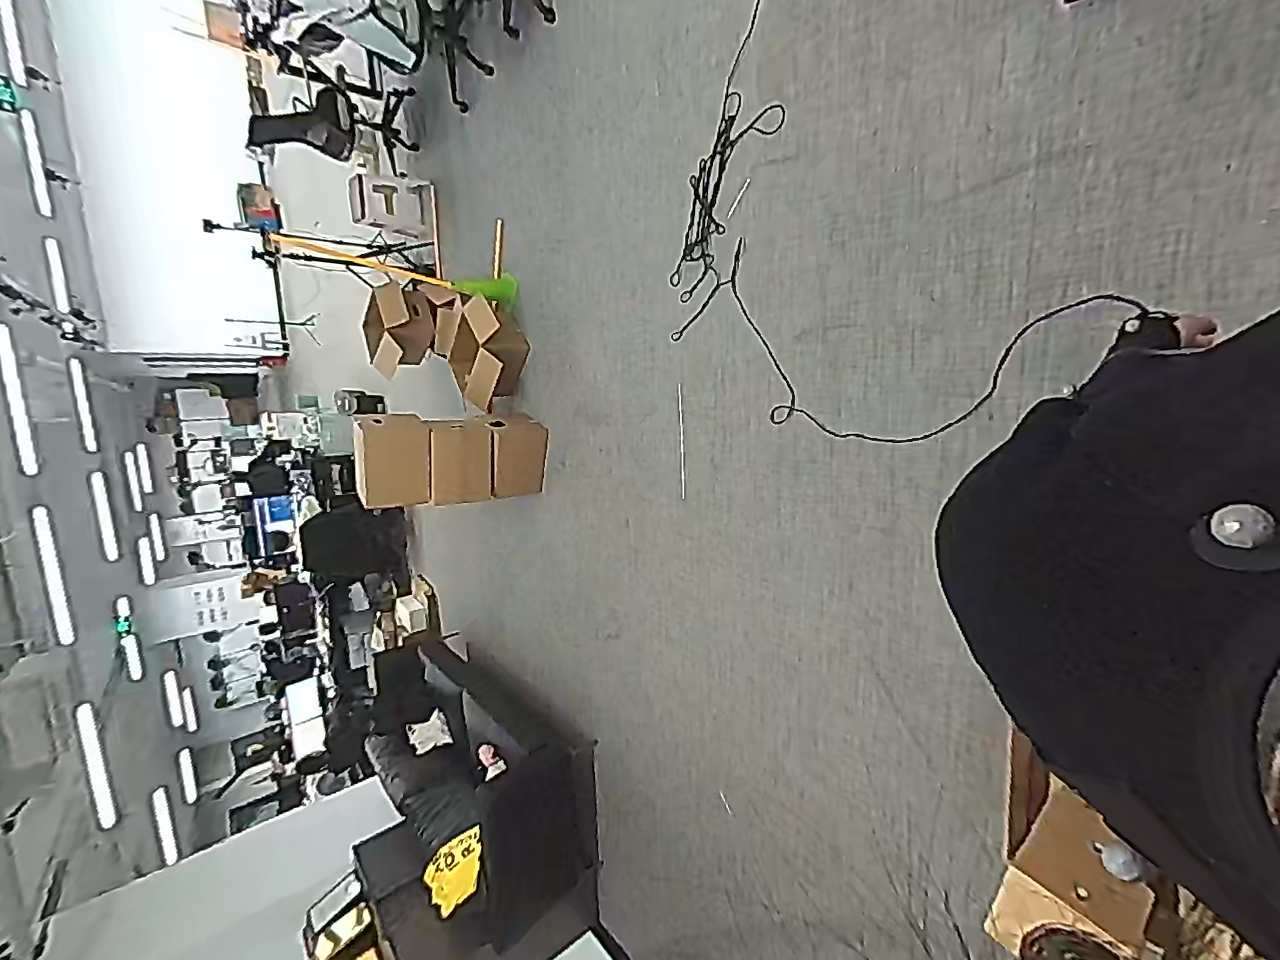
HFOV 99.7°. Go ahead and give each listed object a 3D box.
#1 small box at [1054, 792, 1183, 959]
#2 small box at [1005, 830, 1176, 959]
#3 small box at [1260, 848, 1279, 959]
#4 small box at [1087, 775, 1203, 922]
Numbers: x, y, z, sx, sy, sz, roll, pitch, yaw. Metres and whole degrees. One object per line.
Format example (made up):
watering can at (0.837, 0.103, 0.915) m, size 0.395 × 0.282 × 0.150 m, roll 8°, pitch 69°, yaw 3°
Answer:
small box at (0.929, 0.758, 1.051) m, size 0.168 × 0.176 × 0.179 m, roll 3°, pitch 99°, yaw 51°
small box at (0.795, 0.765, 0.958) m, size 0.179 × 0.176 × 0.168 m, roll 25°, pitch 115°, yaw 47°
small box at (1.223, 0.792, 0.940) m, size 0.179 × 0.176 × 0.168 m, roll 2°, pitch 97°, yaw 55°
small box at (1.063, 0.763, 1.147) m, size 0.179 × 0.176 × 0.168 m, roll -4°, pitch 93°, yaw 53°
